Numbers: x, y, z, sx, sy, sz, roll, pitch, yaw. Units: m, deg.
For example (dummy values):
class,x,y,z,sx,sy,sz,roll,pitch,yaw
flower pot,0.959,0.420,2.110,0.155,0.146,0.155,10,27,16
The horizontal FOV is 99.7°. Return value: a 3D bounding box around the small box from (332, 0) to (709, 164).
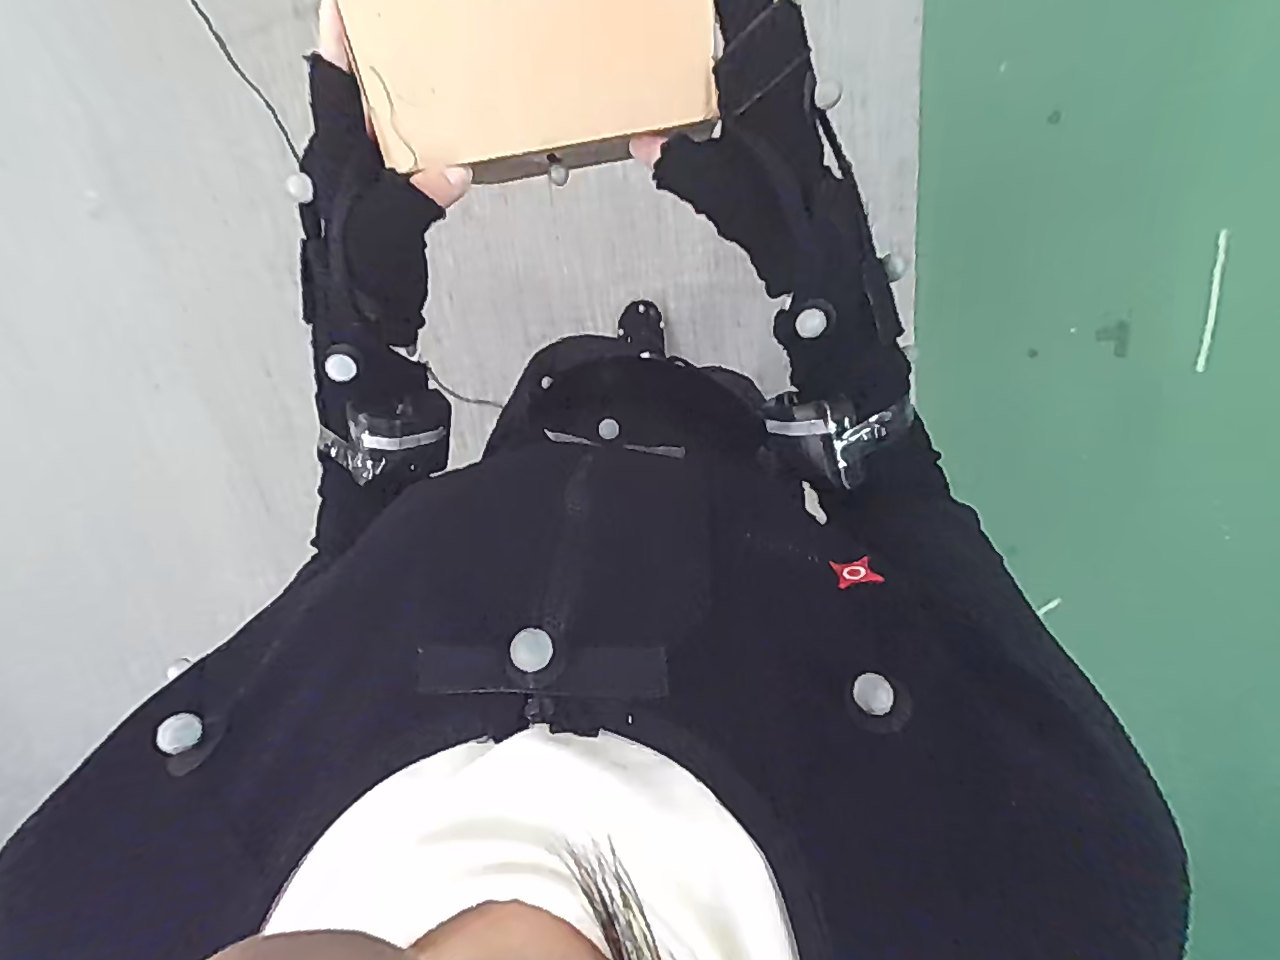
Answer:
class,x,y,z,sx,sy,sz,roll,pitch,yaw
small box,-0.056,-0.285,0.304,0.179,0.176,0.168,-6,119,7
